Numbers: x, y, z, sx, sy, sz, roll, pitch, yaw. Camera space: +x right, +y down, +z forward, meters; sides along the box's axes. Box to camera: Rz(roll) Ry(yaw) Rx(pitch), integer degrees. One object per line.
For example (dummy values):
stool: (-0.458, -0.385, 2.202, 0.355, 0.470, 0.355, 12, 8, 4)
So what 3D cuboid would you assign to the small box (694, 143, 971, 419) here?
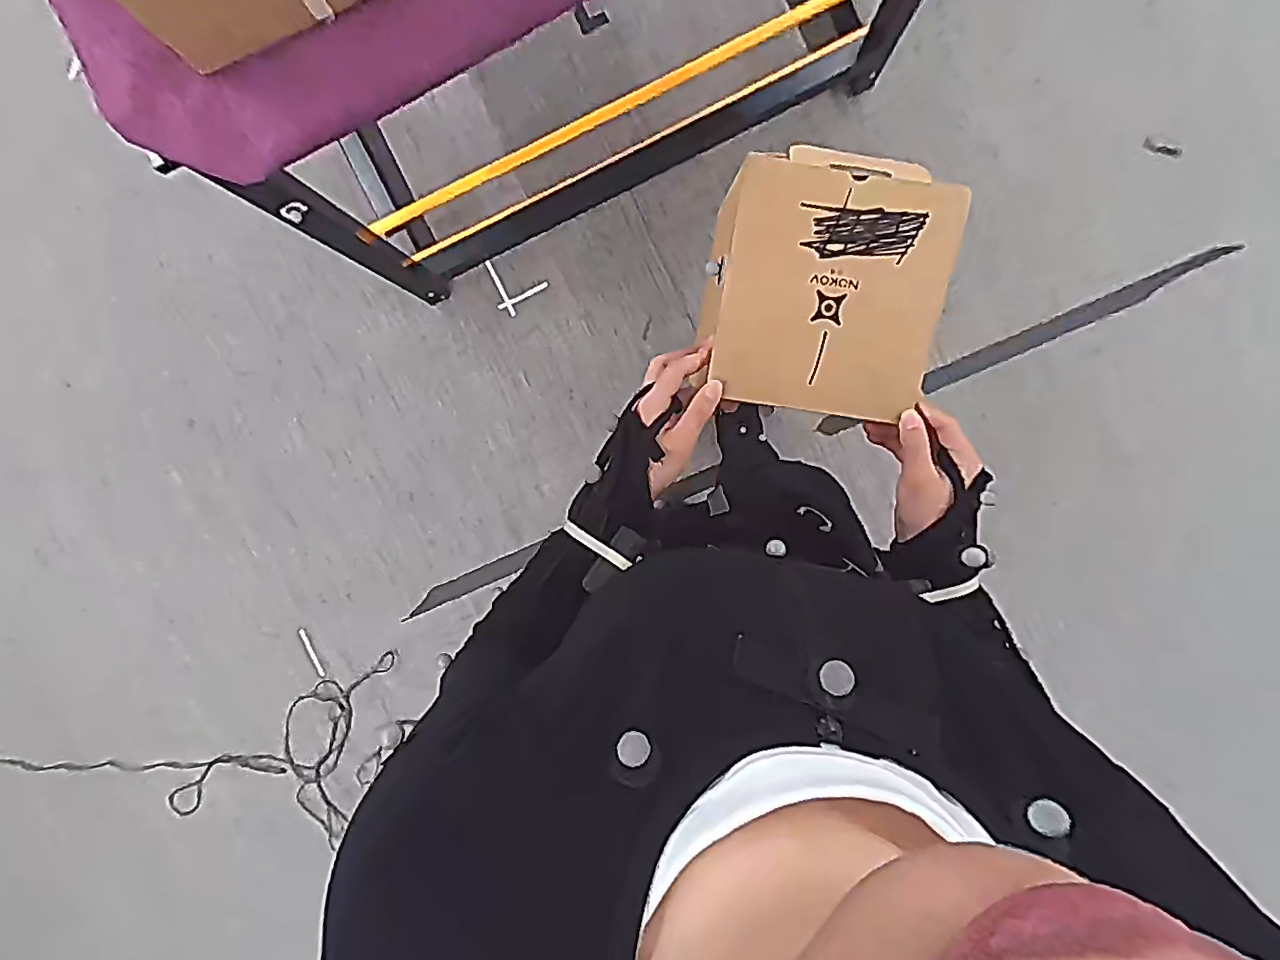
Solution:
small box: (0.146, -0.162, 0.481, 0.168, 0.176, 0.179, 9, 104, -1)
